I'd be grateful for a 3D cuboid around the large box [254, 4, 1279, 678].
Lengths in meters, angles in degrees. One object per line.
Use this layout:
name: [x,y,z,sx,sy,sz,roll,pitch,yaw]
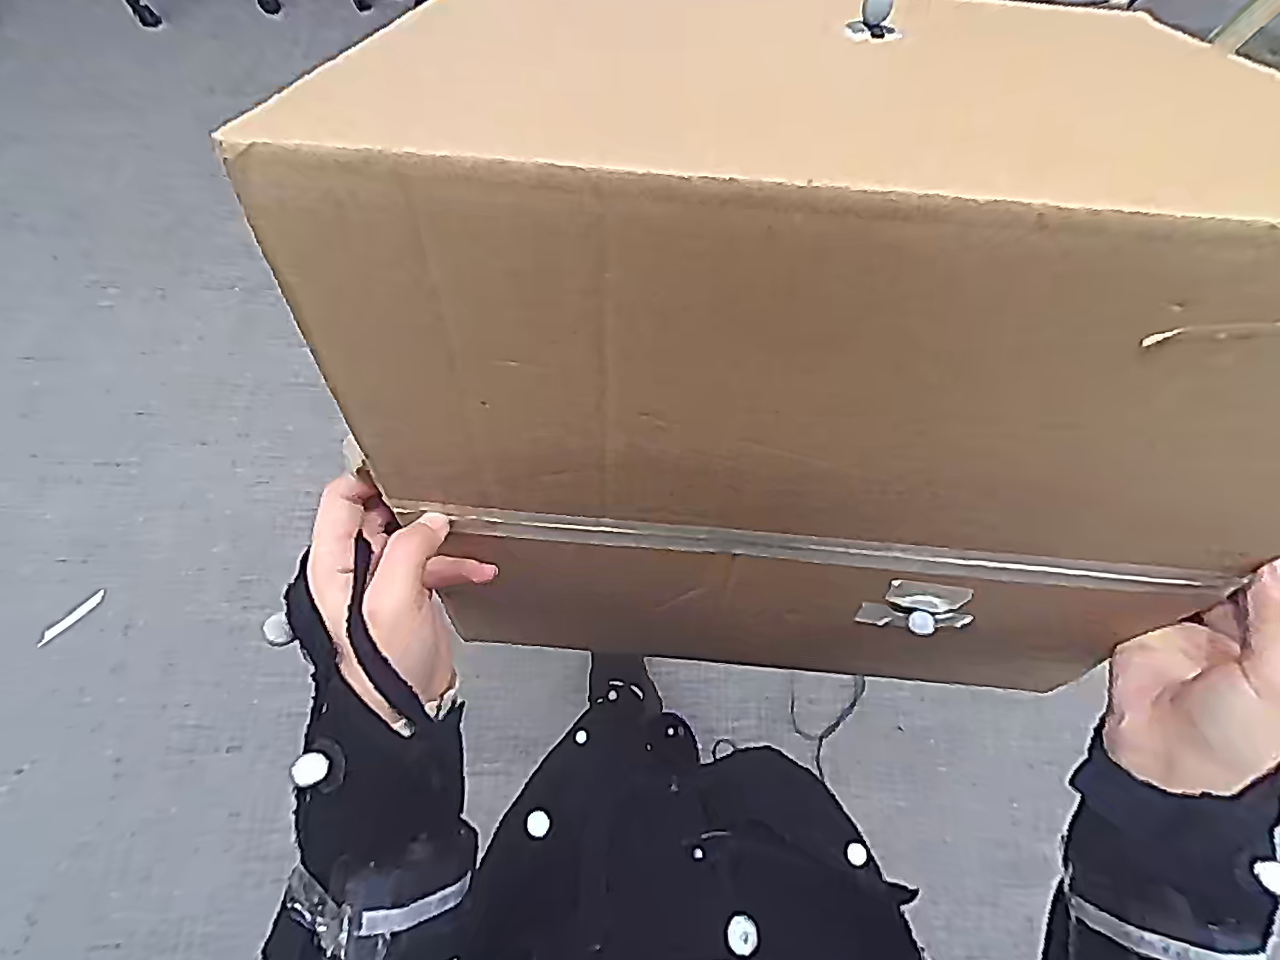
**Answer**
large box: [0.086,-0.085,0.361,0.408,0.320,0.320,4,51,0]
